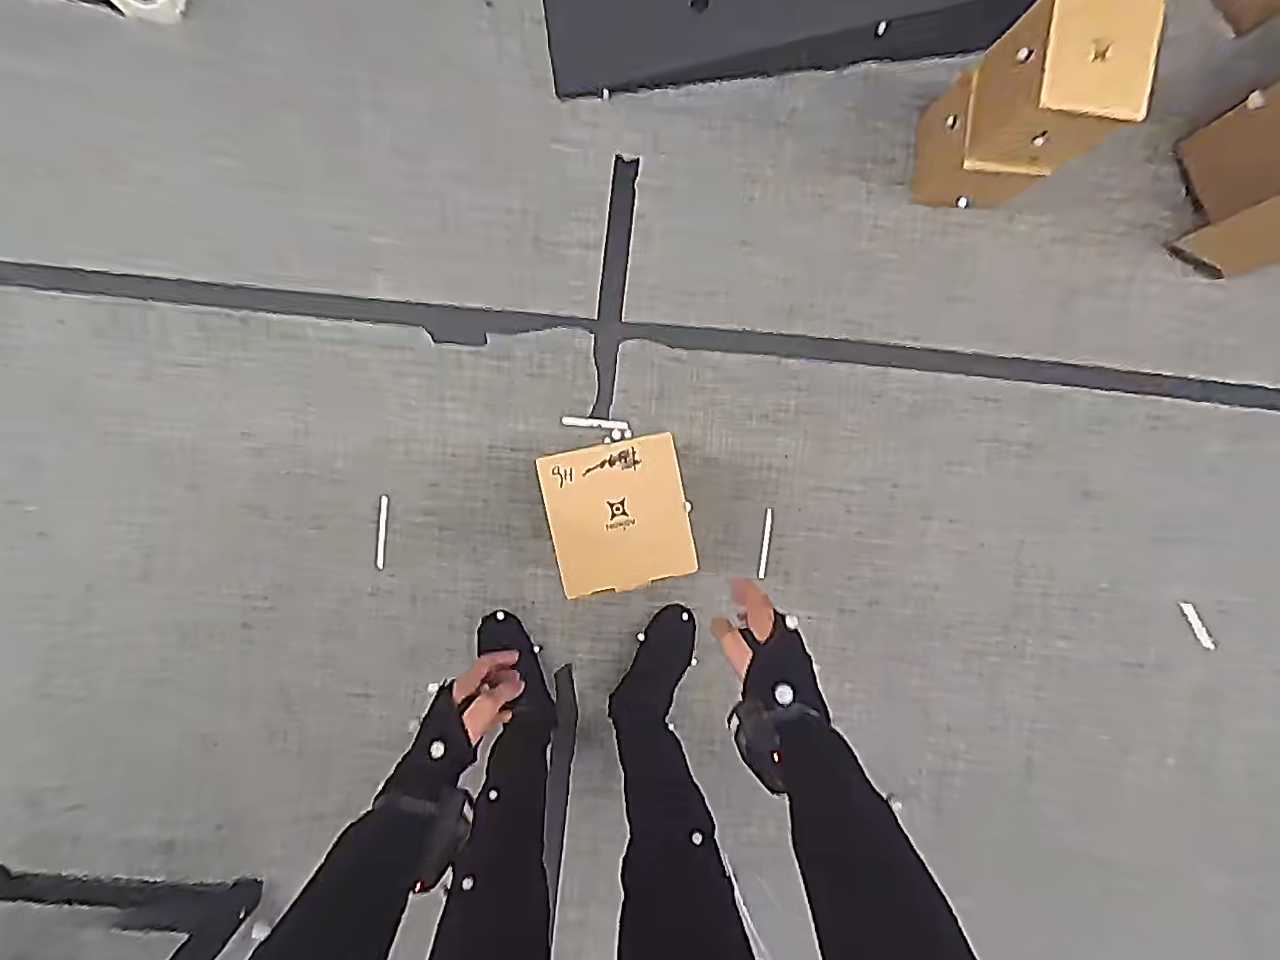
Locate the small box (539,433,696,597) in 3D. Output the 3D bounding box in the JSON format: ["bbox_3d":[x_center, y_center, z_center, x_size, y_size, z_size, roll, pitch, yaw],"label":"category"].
[{"bbox_3d":[-0.028,0.036,0.727,0.168,0.176,0.179,-11,96,-2],"label":"small box"}]
